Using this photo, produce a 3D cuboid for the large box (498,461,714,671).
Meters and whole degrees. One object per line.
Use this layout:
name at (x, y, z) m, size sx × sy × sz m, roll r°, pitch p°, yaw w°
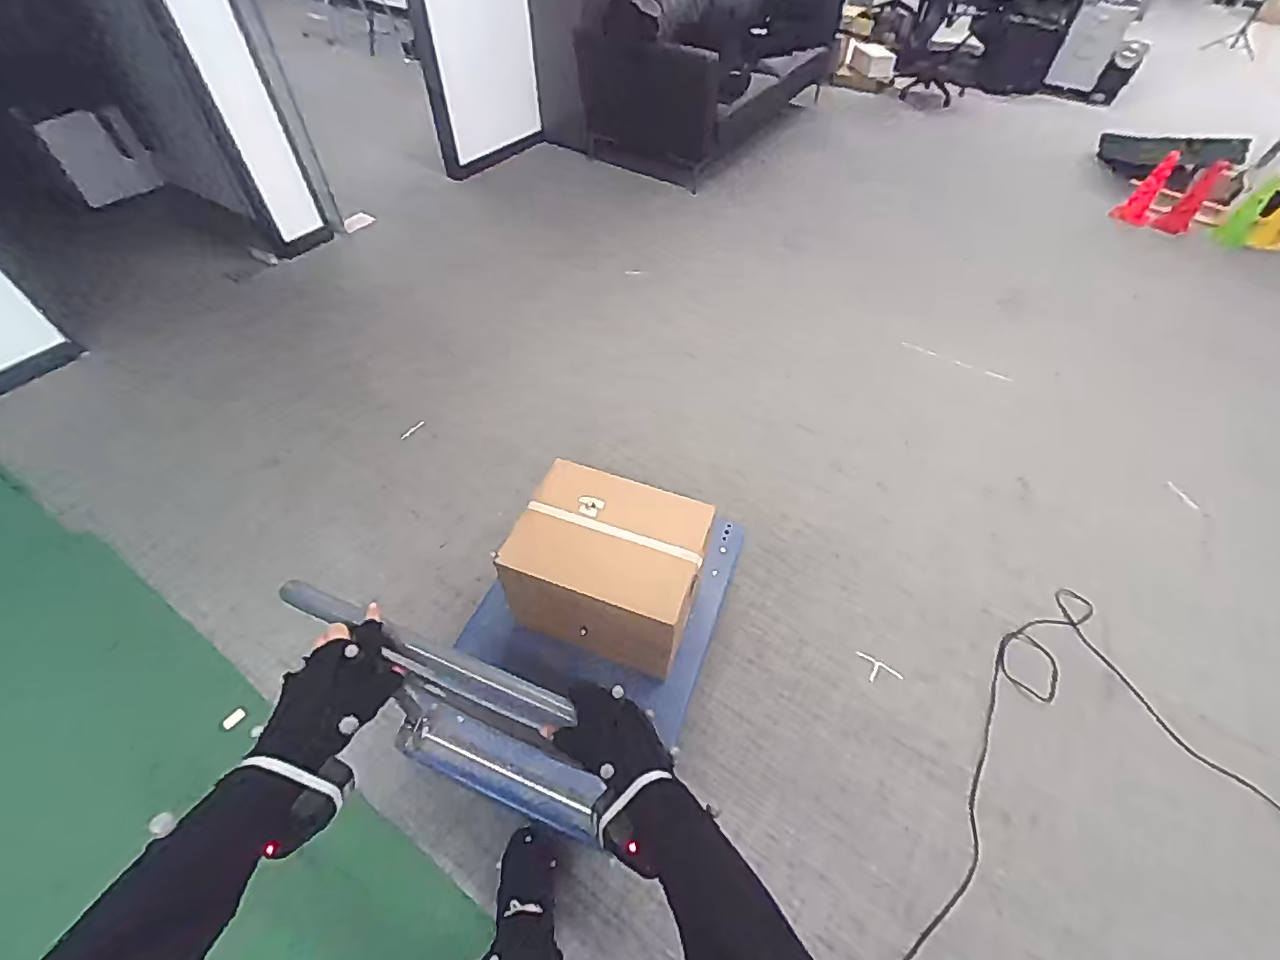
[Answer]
large box at (-0.065, 0.208, 1.305) m, size 0.408 × 0.320 × 0.320 m, roll 17°, pitch 52°, yaw 12°
